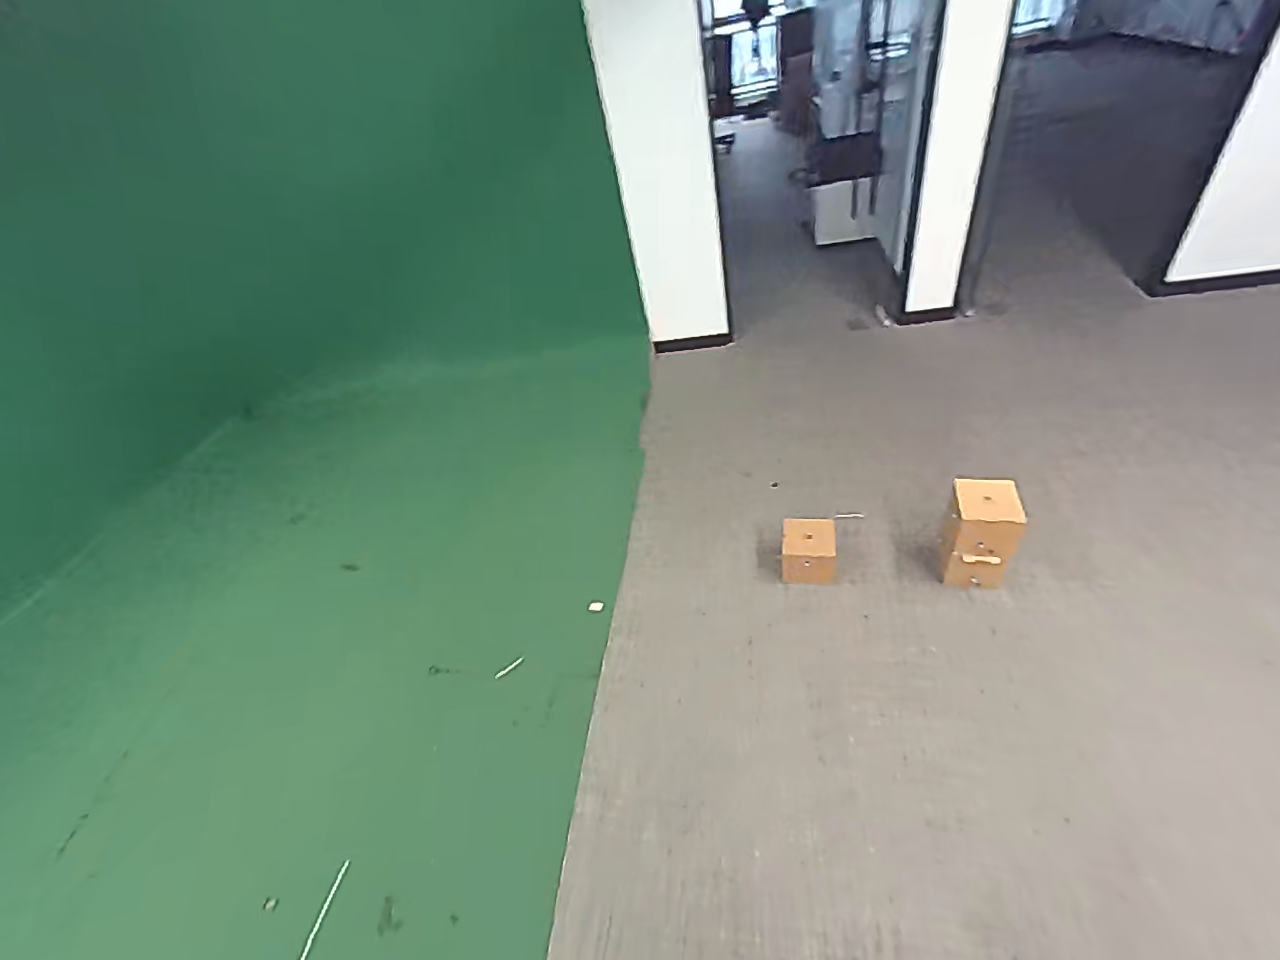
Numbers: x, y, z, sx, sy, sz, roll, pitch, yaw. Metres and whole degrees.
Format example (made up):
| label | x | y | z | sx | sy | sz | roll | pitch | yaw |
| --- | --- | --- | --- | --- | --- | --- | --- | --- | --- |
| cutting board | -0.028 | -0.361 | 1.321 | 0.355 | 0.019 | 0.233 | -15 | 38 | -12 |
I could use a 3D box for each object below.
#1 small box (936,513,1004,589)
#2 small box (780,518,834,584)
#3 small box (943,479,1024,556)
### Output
| label | x | y | z | sx | sy | sz | roll | pitch | yaw |
| --- | --- | --- | --- | --- | --- | --- | --- | --- | --- |
| small box | 1.089 | 0.234 | 1.797 | 0.168 | 0.176 | 0.179 | 4 | 46 | 23 |
| small box | 0.595 | 0.253 | 1.926 | 0.179 | 0.176 | 0.168 | 1 | 45 | 17 |
| small box | 1.065 | 0.116 | 1.691 | 0.168 | 0.176 | 0.179 | 2 | 45 | 17 |
